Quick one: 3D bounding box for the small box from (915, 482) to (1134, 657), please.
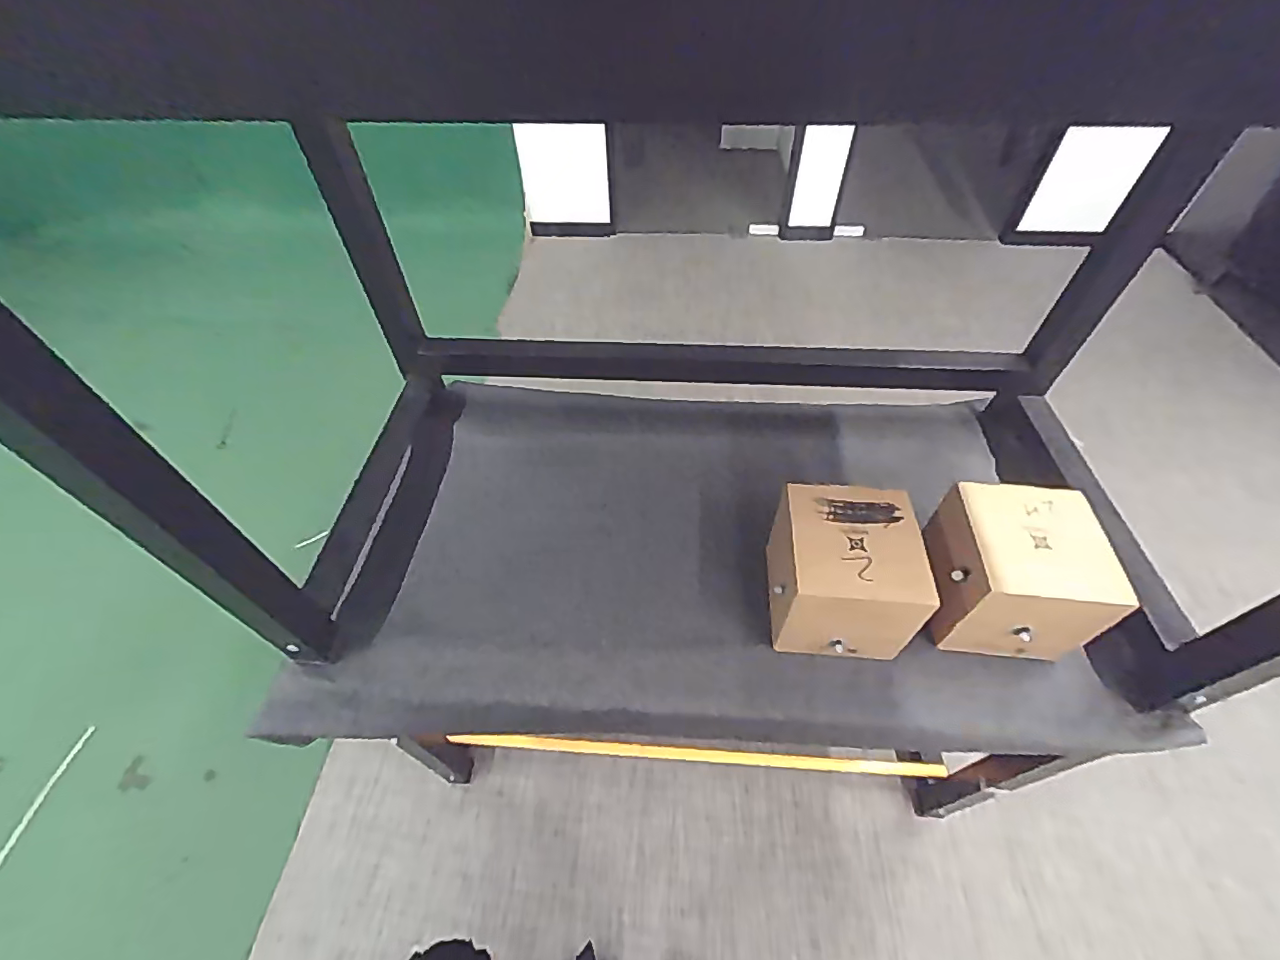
[{"bbox_3d":[0.507,0.127,0.748,0.168,0.176,0.179,5,50,5],"label":"small box"}]
